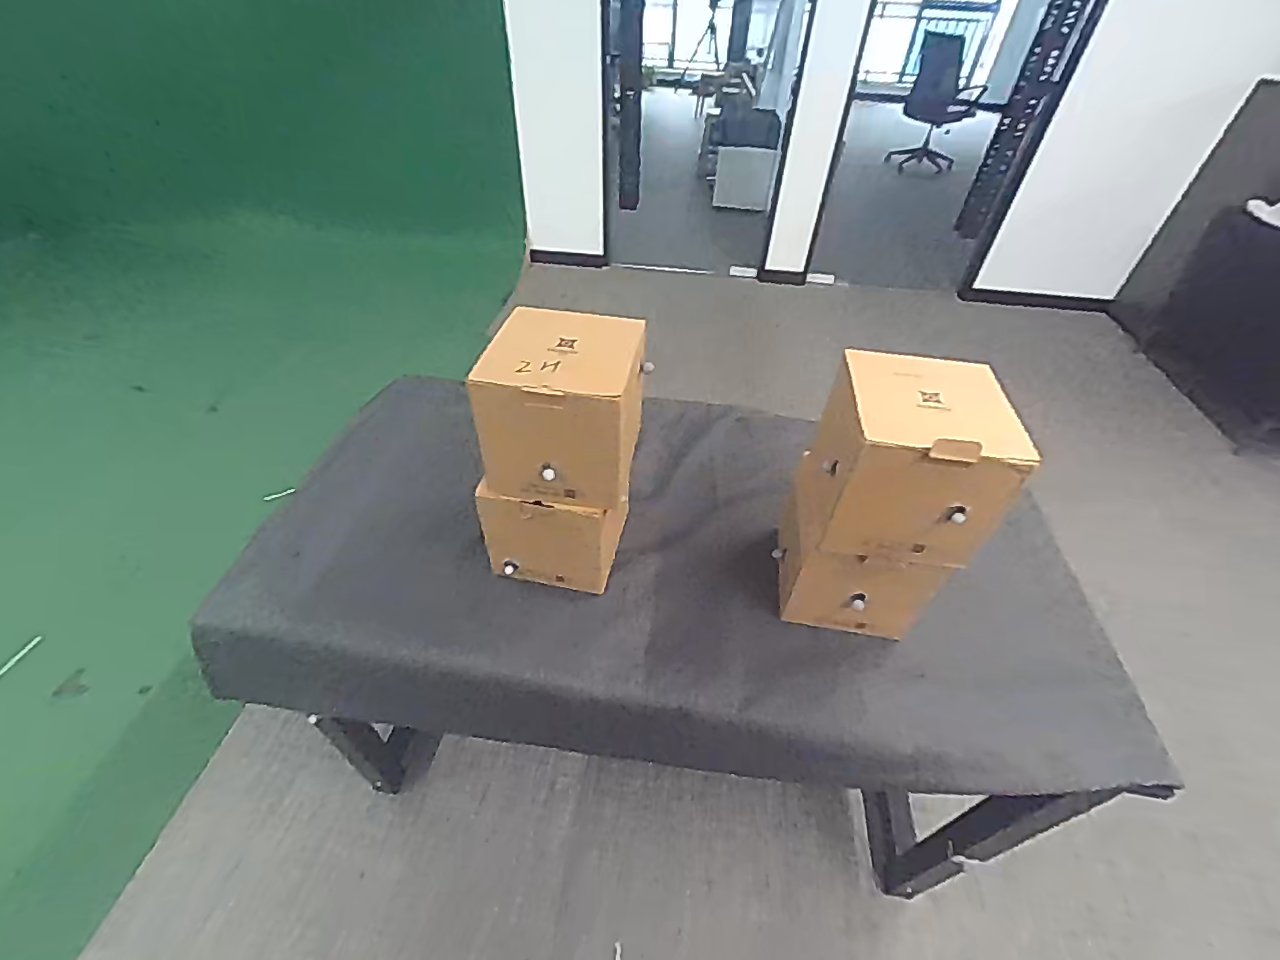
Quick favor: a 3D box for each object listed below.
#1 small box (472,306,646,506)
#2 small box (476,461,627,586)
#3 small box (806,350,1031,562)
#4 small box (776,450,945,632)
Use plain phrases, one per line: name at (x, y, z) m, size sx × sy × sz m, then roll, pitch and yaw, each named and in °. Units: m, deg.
small box at (-0.089, -0.094, 0.675) m, size 0.168 × 0.176 × 0.179 m, roll 7°, pitch 44°, yaw 5°
small box at (-0.113, 0.029, 0.783) m, size 0.168 × 0.176 × 0.179 m, roll 10°, pitch 43°, yaw 6°
small box at (0.300, -0.027, 0.631) m, size 0.168 × 0.176 × 0.179 m, roll 8°, pitch 43°, yaw 4°
small box at (0.288, 0.086, 0.748) m, size 0.168 × 0.176 × 0.179 m, roll 9°, pitch 44°, yaw 5°
